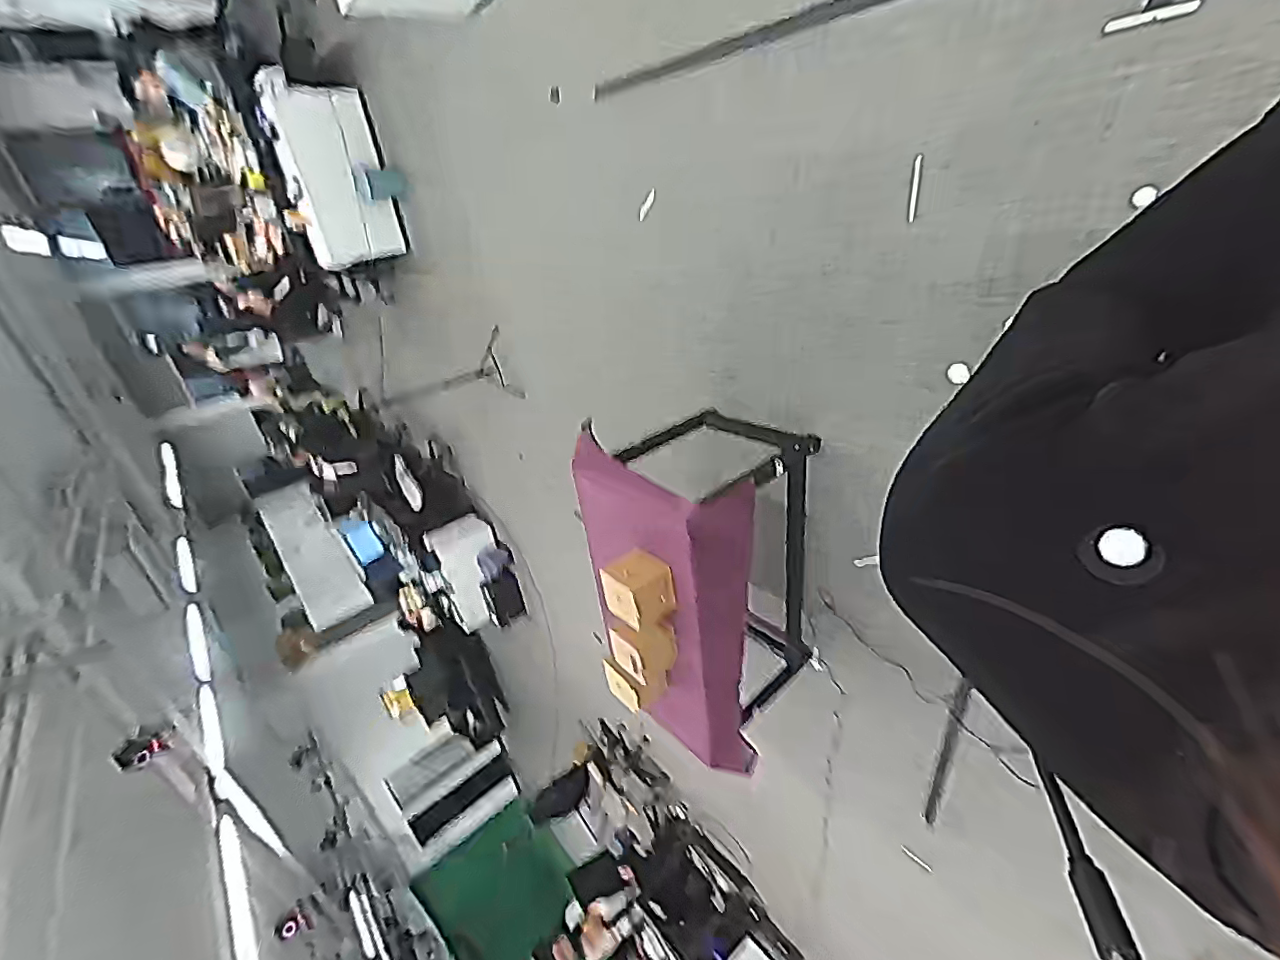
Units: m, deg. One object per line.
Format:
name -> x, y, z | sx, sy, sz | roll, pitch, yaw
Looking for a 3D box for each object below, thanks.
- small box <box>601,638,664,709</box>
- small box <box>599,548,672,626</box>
small box -> -0.026, 0.754, 2.139 | 0.179, 0.176, 0.168 | 24, 132, 44
small box -> -0.013, 0.353, 1.826 | 0.179, 0.176, 0.168 | 22, 131, 45
